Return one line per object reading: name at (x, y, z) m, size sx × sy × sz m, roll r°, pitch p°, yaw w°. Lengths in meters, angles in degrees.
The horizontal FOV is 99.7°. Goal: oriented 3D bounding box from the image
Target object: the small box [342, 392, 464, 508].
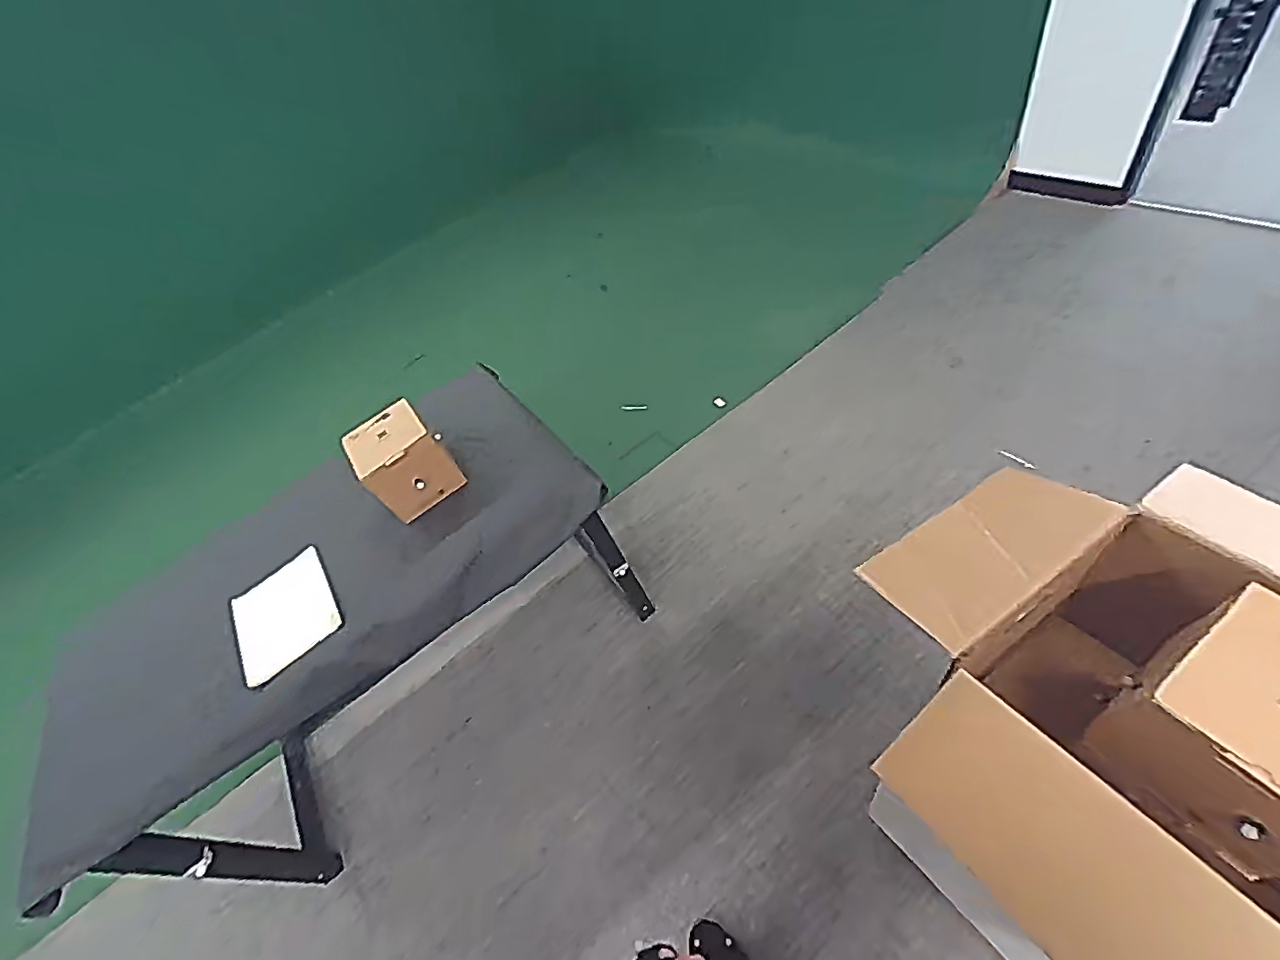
small box at (-0.529, -0.060, 1.224) m, size 0.168 × 0.176 × 0.179 m, roll -37°, pitch 52°, yaw -11°
